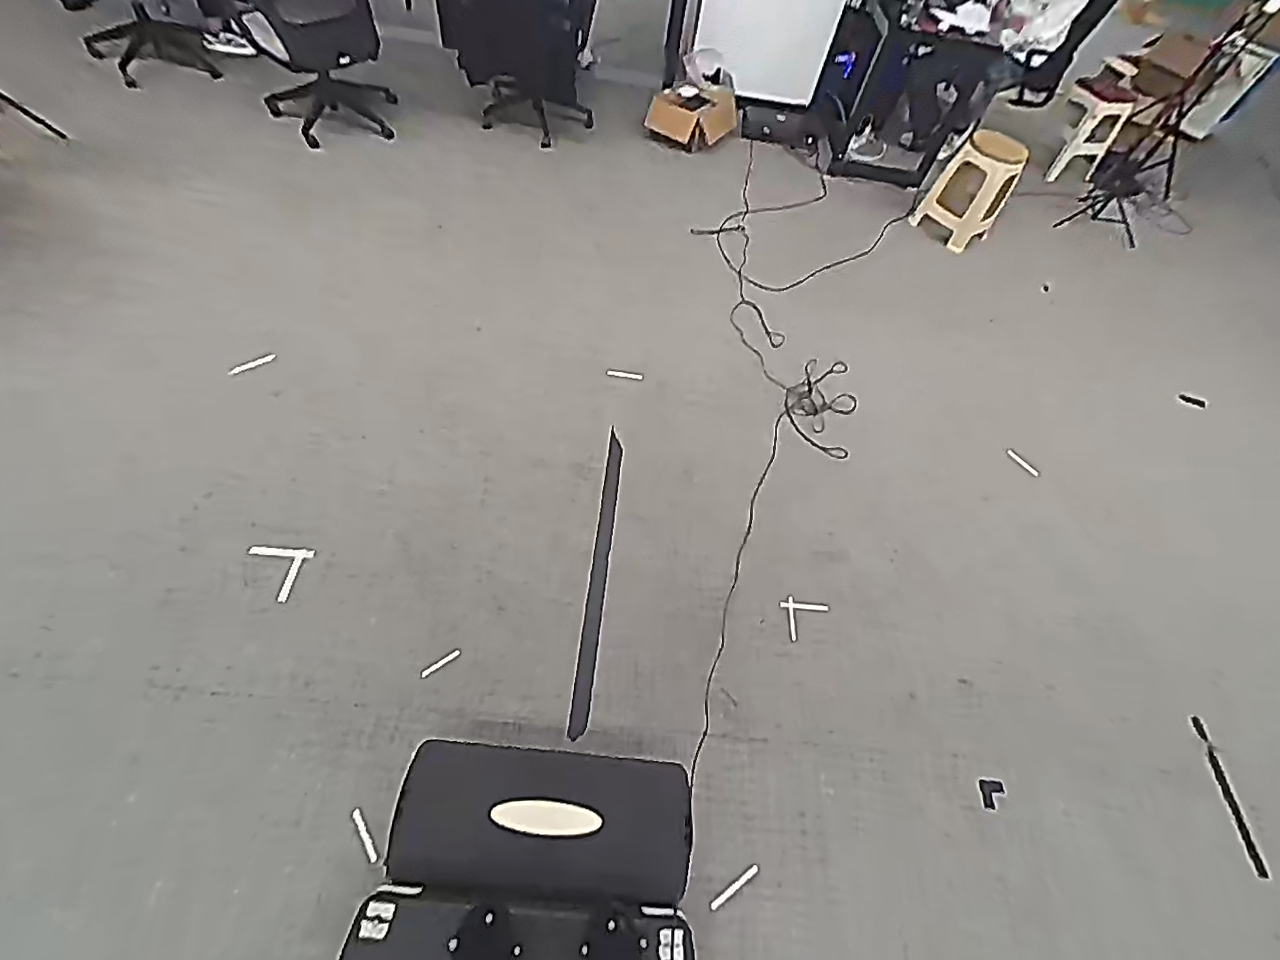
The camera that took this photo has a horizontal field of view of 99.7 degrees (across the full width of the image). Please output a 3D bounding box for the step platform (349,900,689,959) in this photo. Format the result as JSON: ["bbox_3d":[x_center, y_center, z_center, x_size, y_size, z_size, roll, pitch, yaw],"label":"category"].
[{"bbox_3d":[-0.226,1.028,1.019,0.684,0.204,0.286,10,54,0],"label":"step platform"}]
